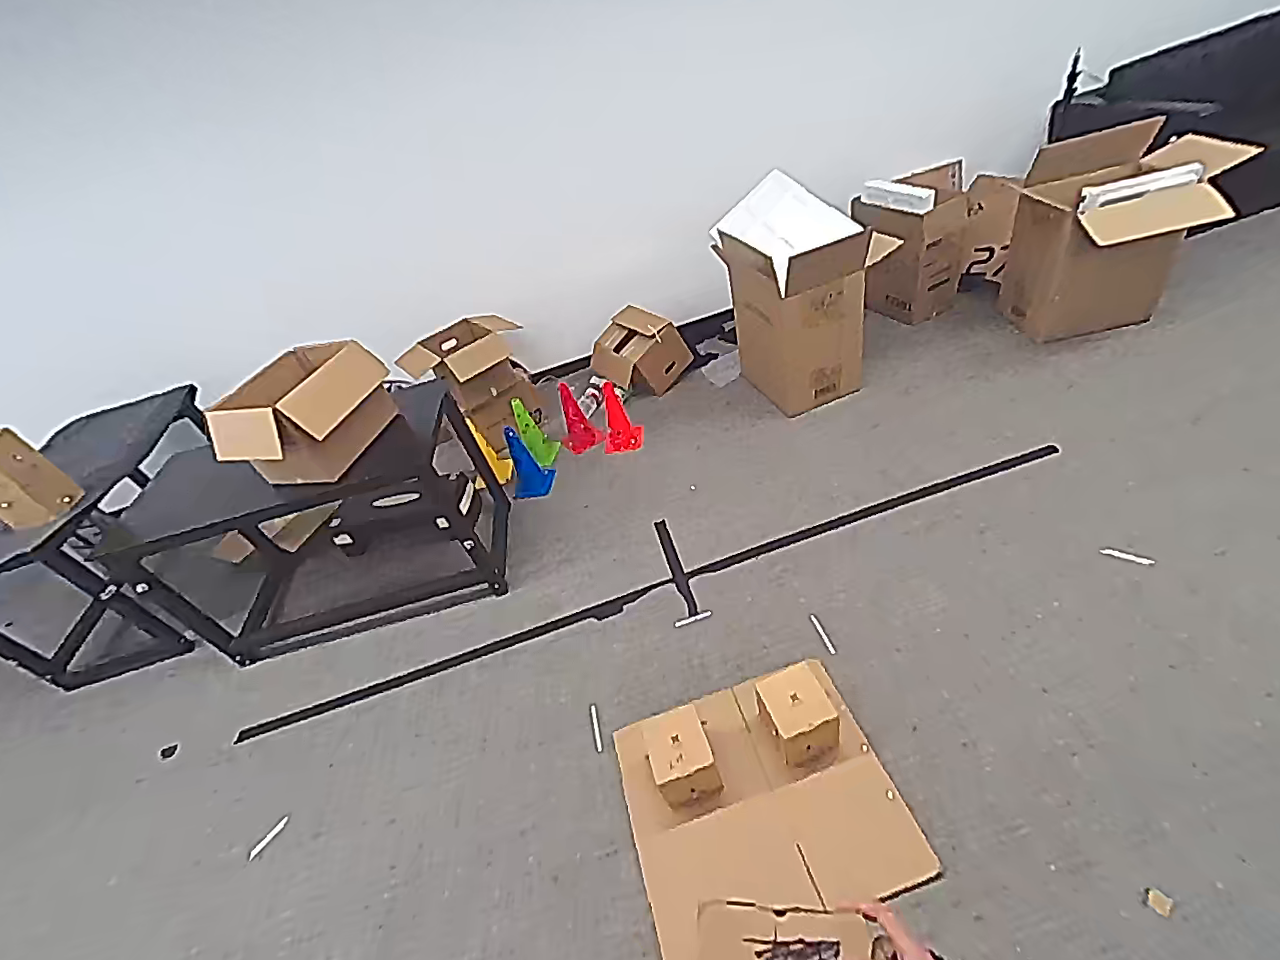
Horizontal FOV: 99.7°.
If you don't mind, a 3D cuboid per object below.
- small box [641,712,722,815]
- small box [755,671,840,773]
[{"bbox_3d":[0.115,0.790,1.506,0.168,0.176,0.179,-20,39,-2],"label":"small box"},{"bbox_3d":[0.442,0.683,1.526,0.168,0.176,0.179,-22,39,-6],"label":"small box"}]
